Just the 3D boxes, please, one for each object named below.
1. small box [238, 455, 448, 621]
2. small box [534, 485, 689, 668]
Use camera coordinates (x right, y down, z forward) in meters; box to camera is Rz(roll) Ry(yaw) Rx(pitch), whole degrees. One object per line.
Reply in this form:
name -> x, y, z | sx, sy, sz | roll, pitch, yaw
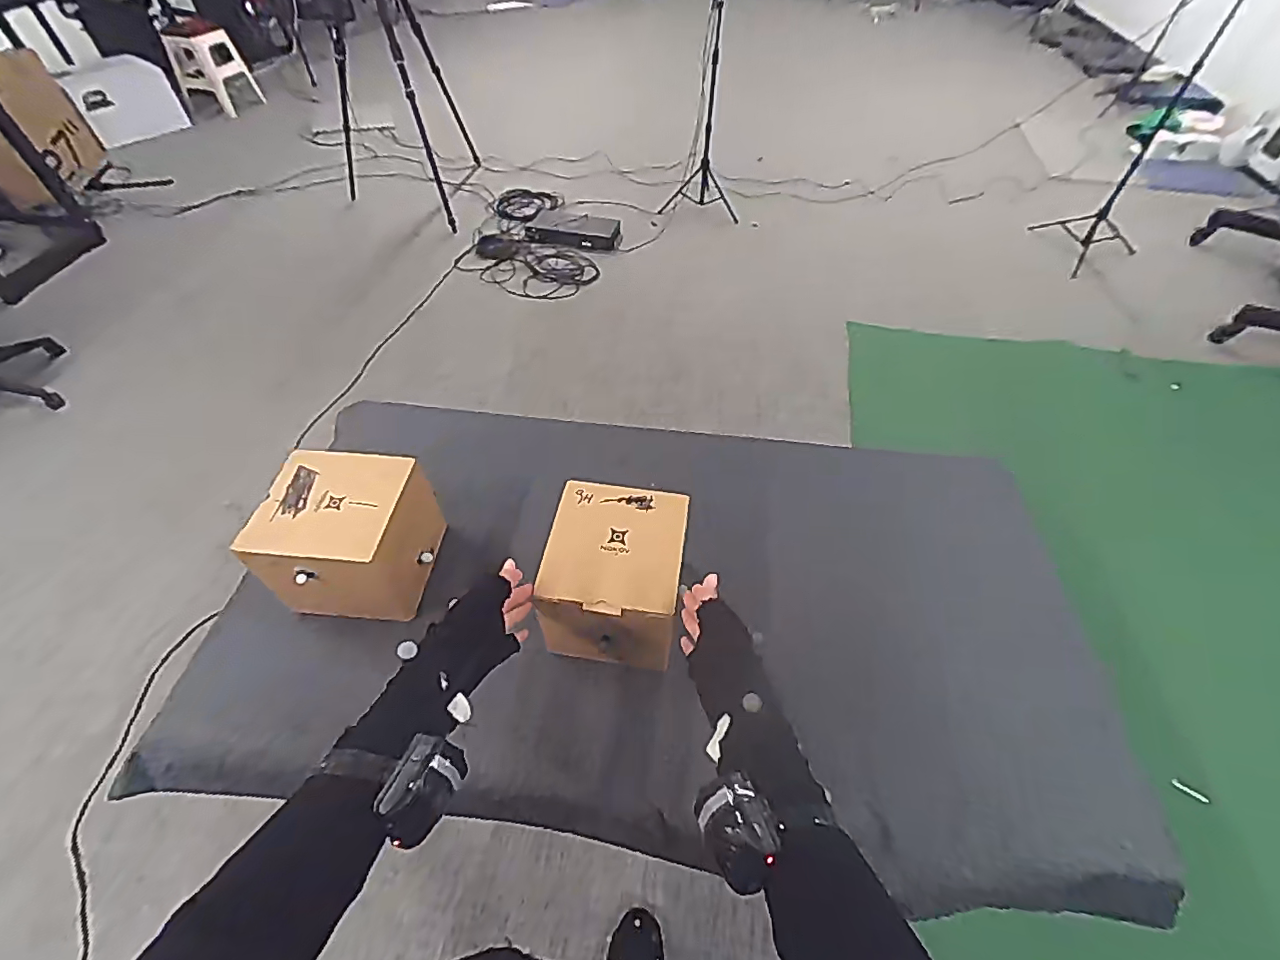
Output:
small box -> -0.394, 0.085, 0.758 | 0.179, 0.176, 0.168 | 5, 51, 2
small box -> -0.029, 0.133, 0.725 | 0.168, 0.176, 0.179 | 7, 52, 5
